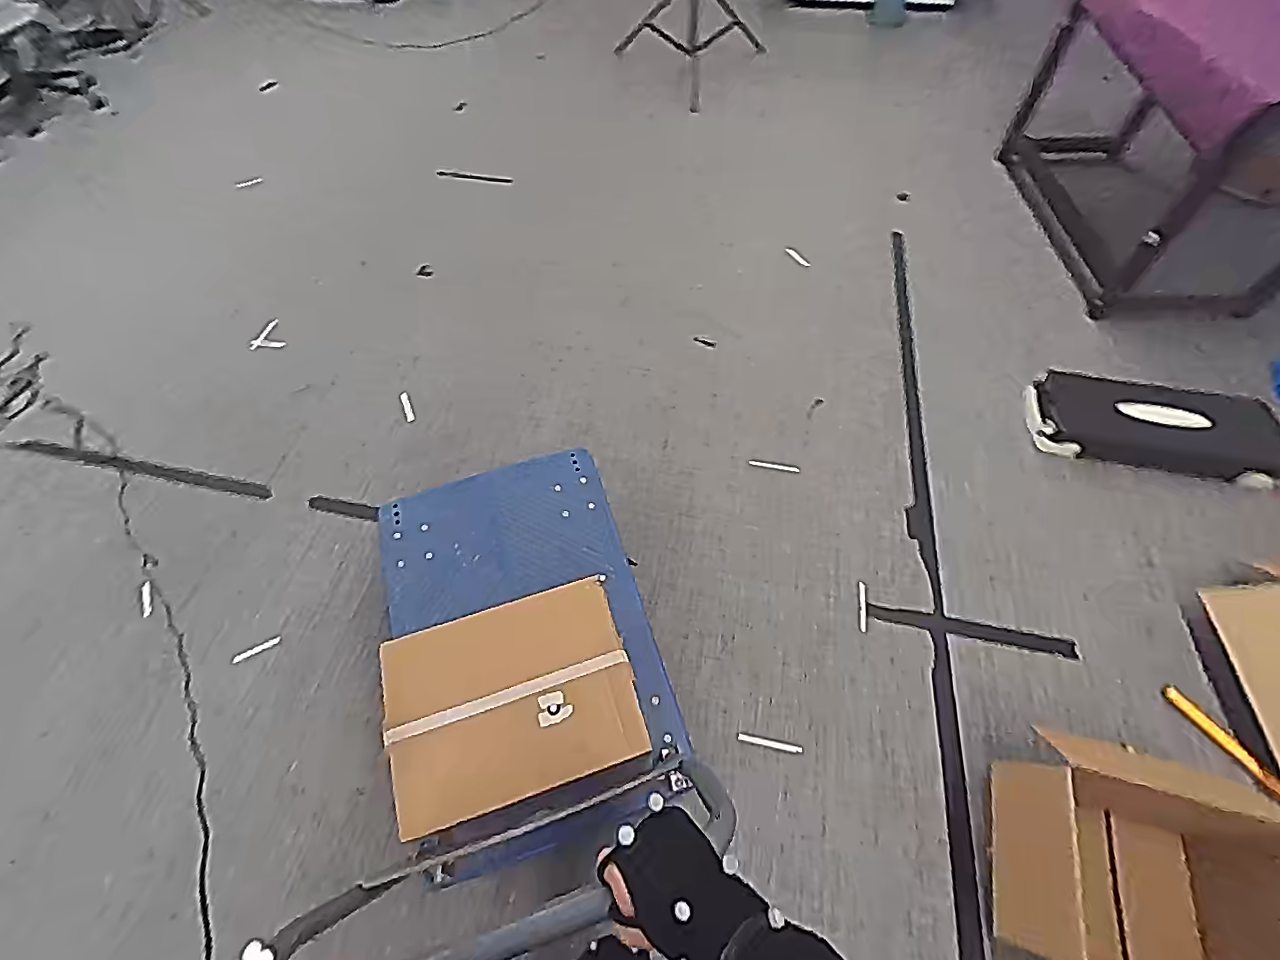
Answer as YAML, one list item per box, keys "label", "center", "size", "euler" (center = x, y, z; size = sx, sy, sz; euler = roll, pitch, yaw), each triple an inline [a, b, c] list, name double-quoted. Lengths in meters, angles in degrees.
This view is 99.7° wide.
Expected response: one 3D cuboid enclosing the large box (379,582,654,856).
- label: "large box"
  center: [-0.214, 0.442, 1.020]
  size: [0.408, 0.320, 0.320]
  euler: [-17, 63, -10]
